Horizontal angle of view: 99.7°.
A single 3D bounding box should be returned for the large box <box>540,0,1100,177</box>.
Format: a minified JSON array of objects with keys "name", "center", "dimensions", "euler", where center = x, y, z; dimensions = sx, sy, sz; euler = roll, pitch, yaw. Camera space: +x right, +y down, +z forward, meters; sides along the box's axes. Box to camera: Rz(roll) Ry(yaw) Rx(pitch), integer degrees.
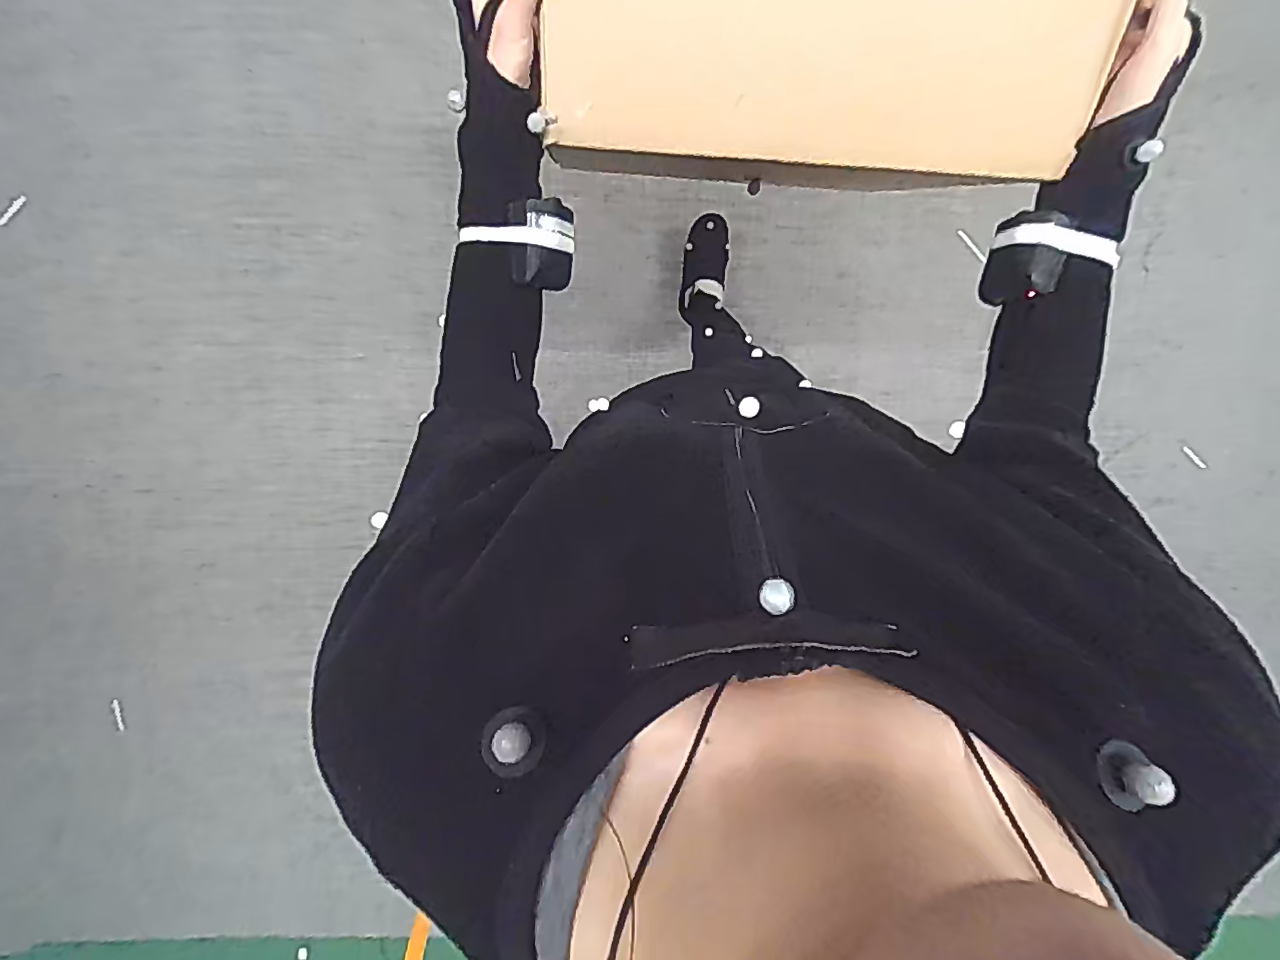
[{"name":"large box","center":[0.123,-0.451,0.477],"dimensions":[0.408,0.320,0.320],"euler":[0,117,-6]}]
